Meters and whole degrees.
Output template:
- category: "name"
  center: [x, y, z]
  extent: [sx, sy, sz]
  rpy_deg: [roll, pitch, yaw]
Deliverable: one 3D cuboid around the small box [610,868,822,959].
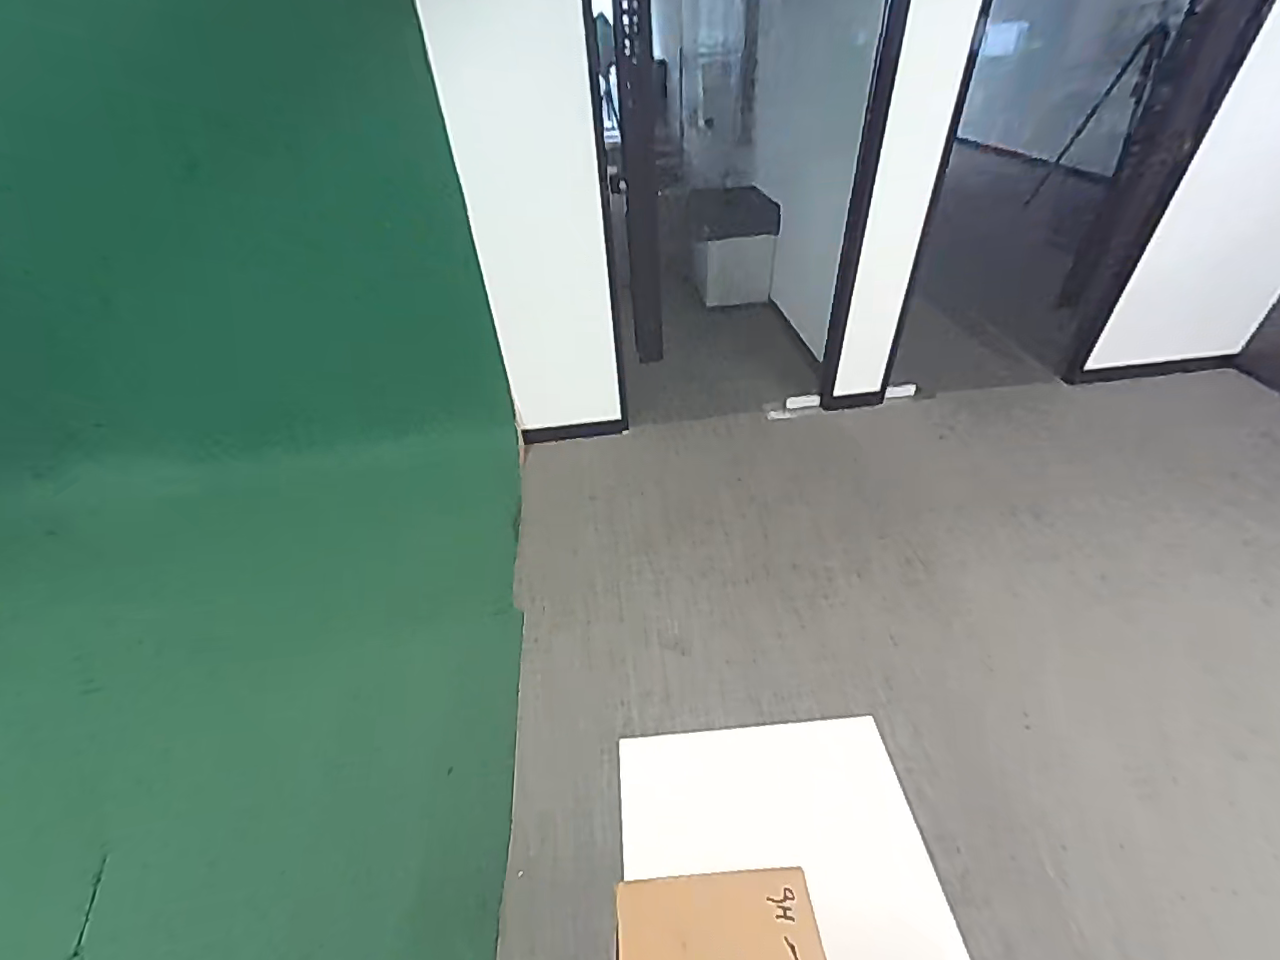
- category: "small box"
  center: [0.071, 0.474, 0.473]
  extent: [0.179, 0.176, 0.168]
  rpy_deg: [-6, 35, 0]
